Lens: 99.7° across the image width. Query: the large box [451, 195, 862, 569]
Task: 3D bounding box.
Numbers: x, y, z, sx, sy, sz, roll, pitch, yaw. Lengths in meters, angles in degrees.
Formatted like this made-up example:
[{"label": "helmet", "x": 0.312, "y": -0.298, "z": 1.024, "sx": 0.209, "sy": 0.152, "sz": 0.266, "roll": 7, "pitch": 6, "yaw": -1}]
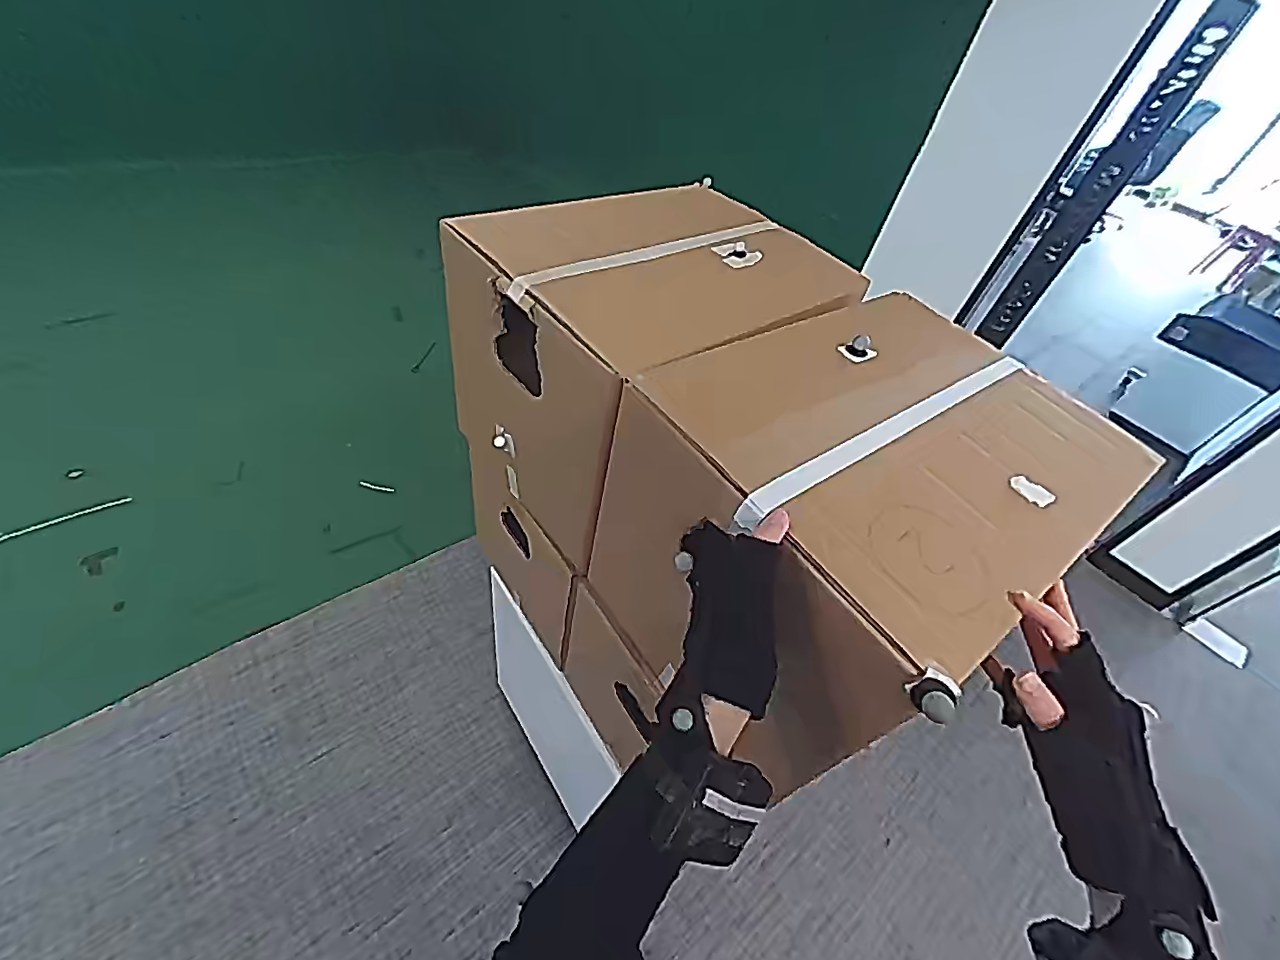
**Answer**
[{"label": "large box", "x": 0.010, "y": -0.154, "z": 0.734, "sx": 0.408, "sy": 0.320, "sz": 0.320, "roll": -26, "pitch": 58, "yaw": -33}]
